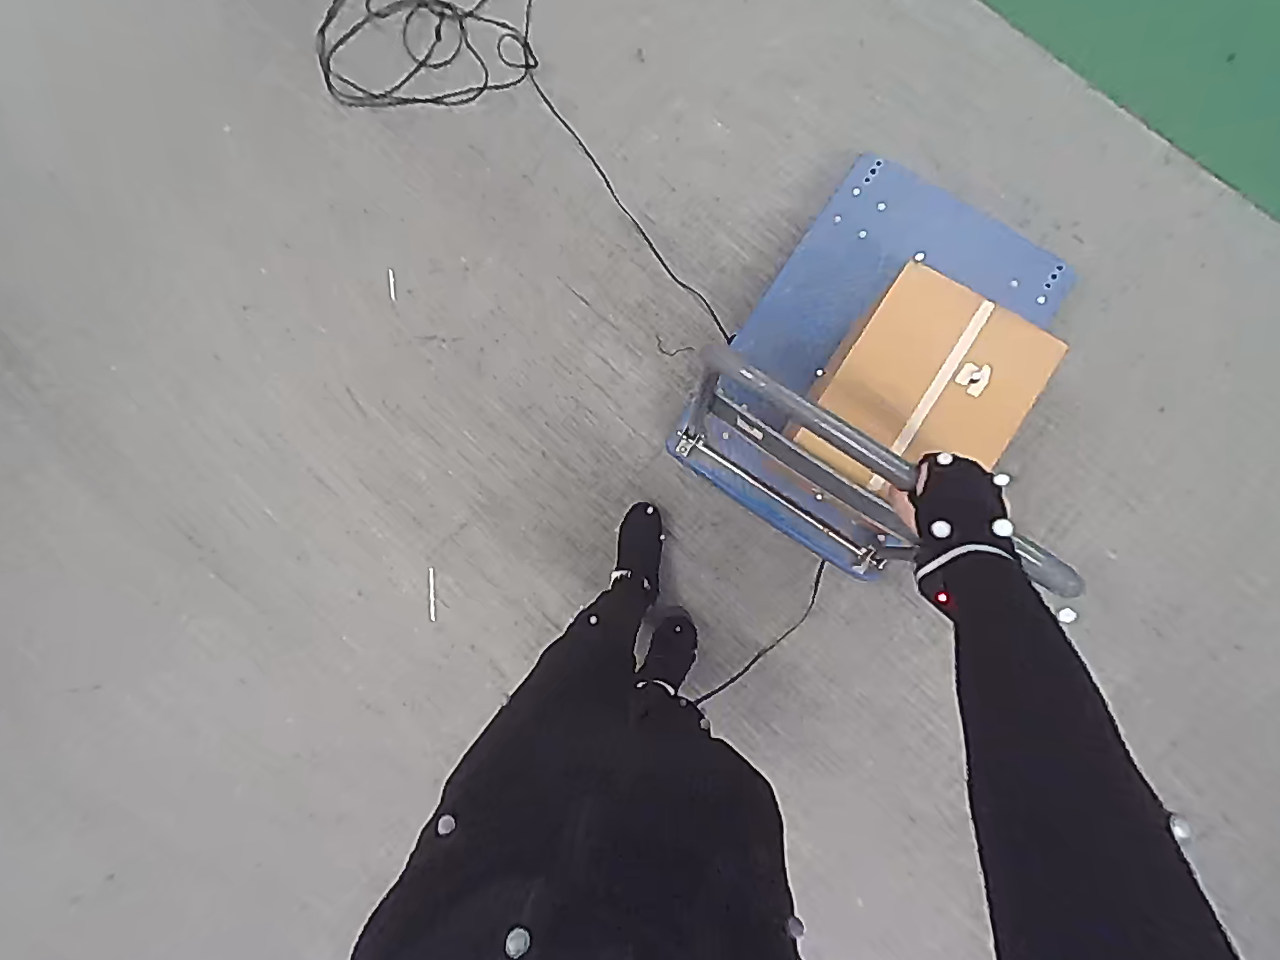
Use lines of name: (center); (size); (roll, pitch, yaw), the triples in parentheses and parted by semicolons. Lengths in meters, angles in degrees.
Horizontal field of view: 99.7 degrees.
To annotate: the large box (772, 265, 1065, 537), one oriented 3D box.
large box: (0.521, -0.129, 1.098); (0.320, 0.320, 0.408); (33, 88, 5)
